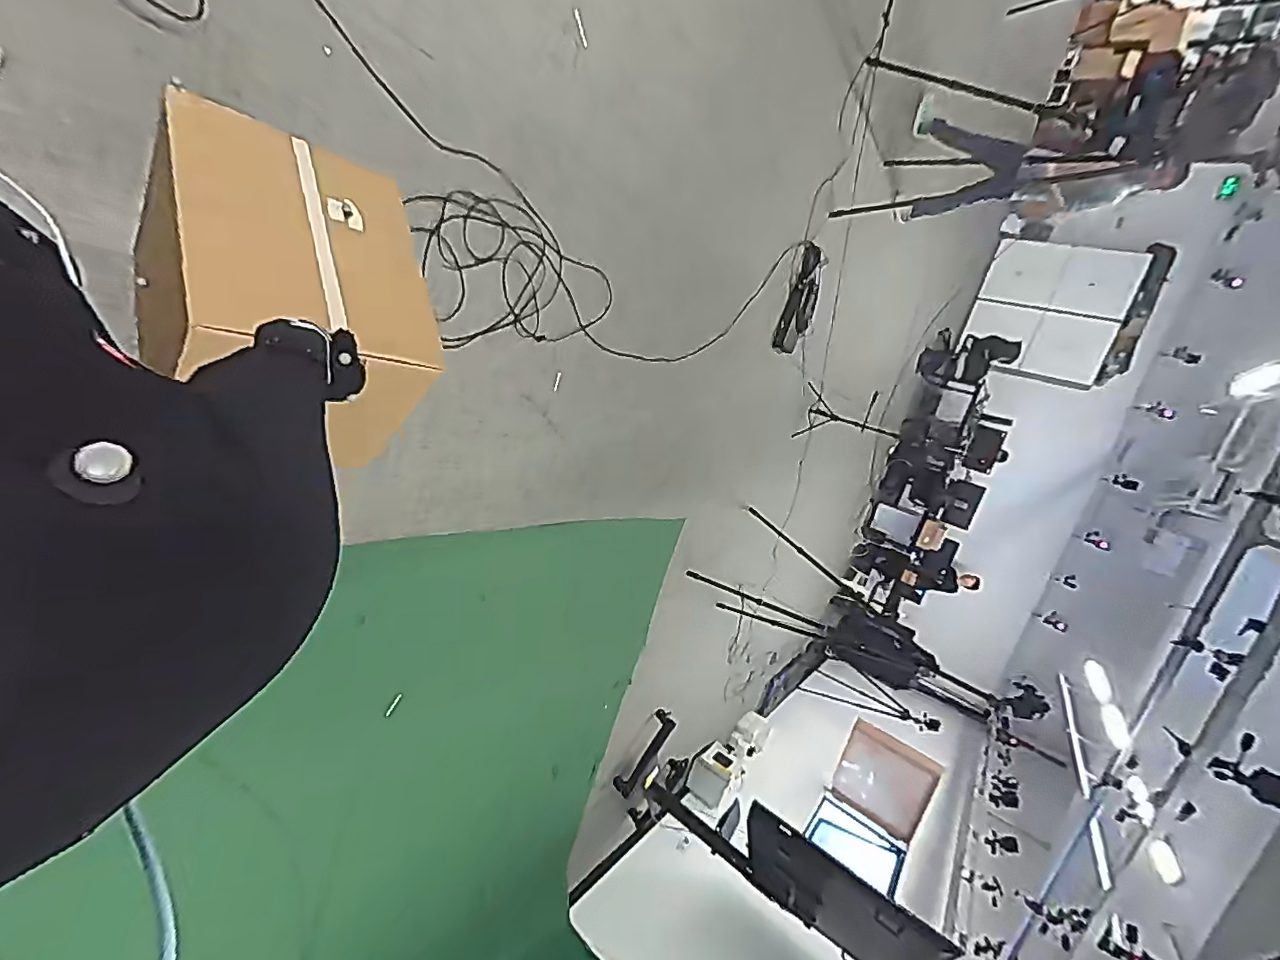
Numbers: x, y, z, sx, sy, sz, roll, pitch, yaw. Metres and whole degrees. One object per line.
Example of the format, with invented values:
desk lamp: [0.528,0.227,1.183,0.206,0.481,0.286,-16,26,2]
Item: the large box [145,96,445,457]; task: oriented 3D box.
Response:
large box: [-0.569,-0.280,0.876,0.320,0.408,0.320,-34,158,35]
